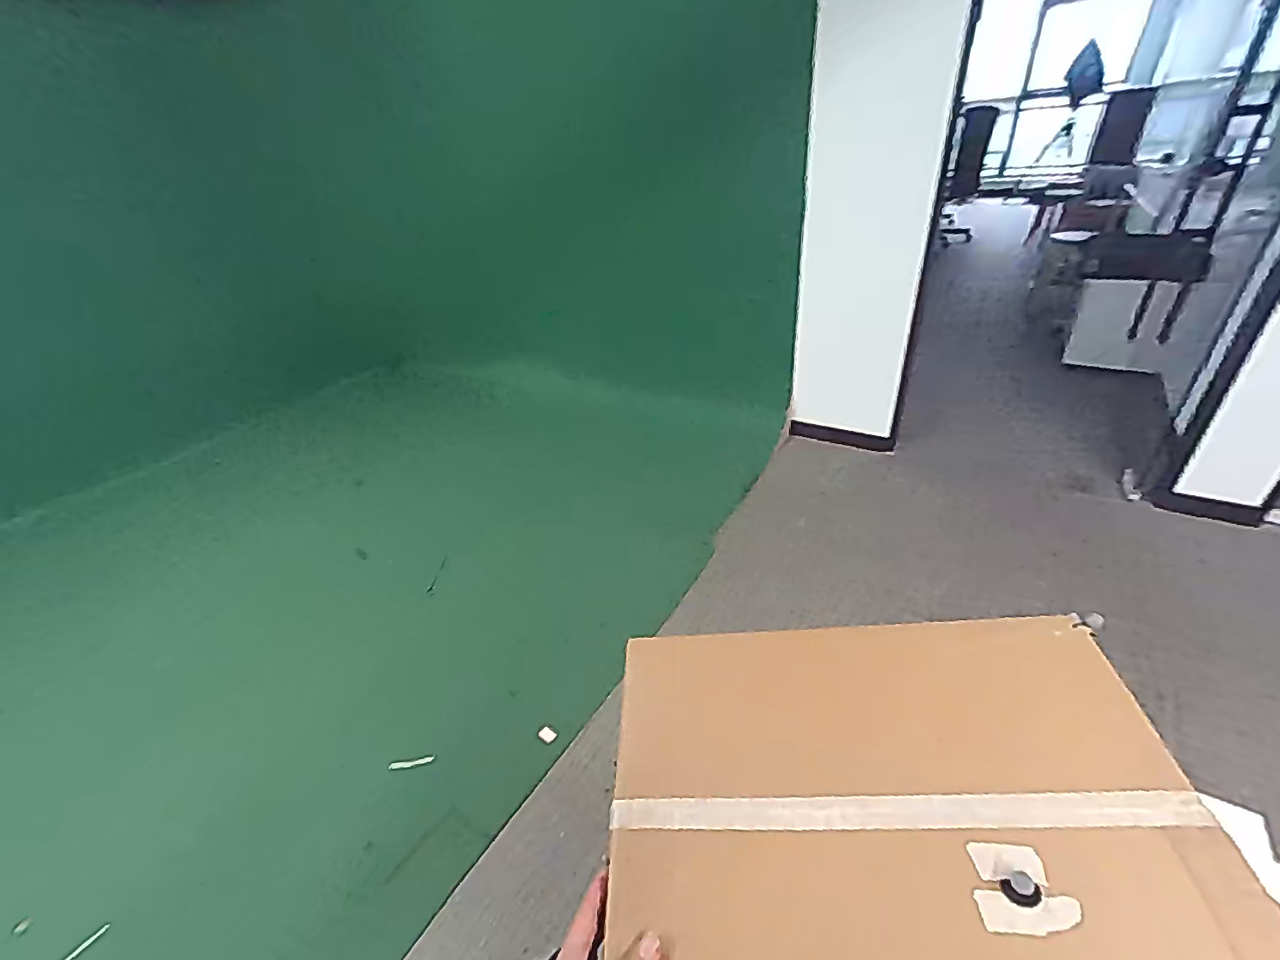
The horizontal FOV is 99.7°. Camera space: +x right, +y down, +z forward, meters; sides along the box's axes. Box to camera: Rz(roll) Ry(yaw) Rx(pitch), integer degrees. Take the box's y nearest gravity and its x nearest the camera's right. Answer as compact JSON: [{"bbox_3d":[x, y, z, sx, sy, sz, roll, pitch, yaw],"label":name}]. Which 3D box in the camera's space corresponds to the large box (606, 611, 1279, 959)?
[{"bbox_3d":[0.196,0.351,0.496,0.408,0.320,0.320,-5,41,7],"label":"large box"}]
